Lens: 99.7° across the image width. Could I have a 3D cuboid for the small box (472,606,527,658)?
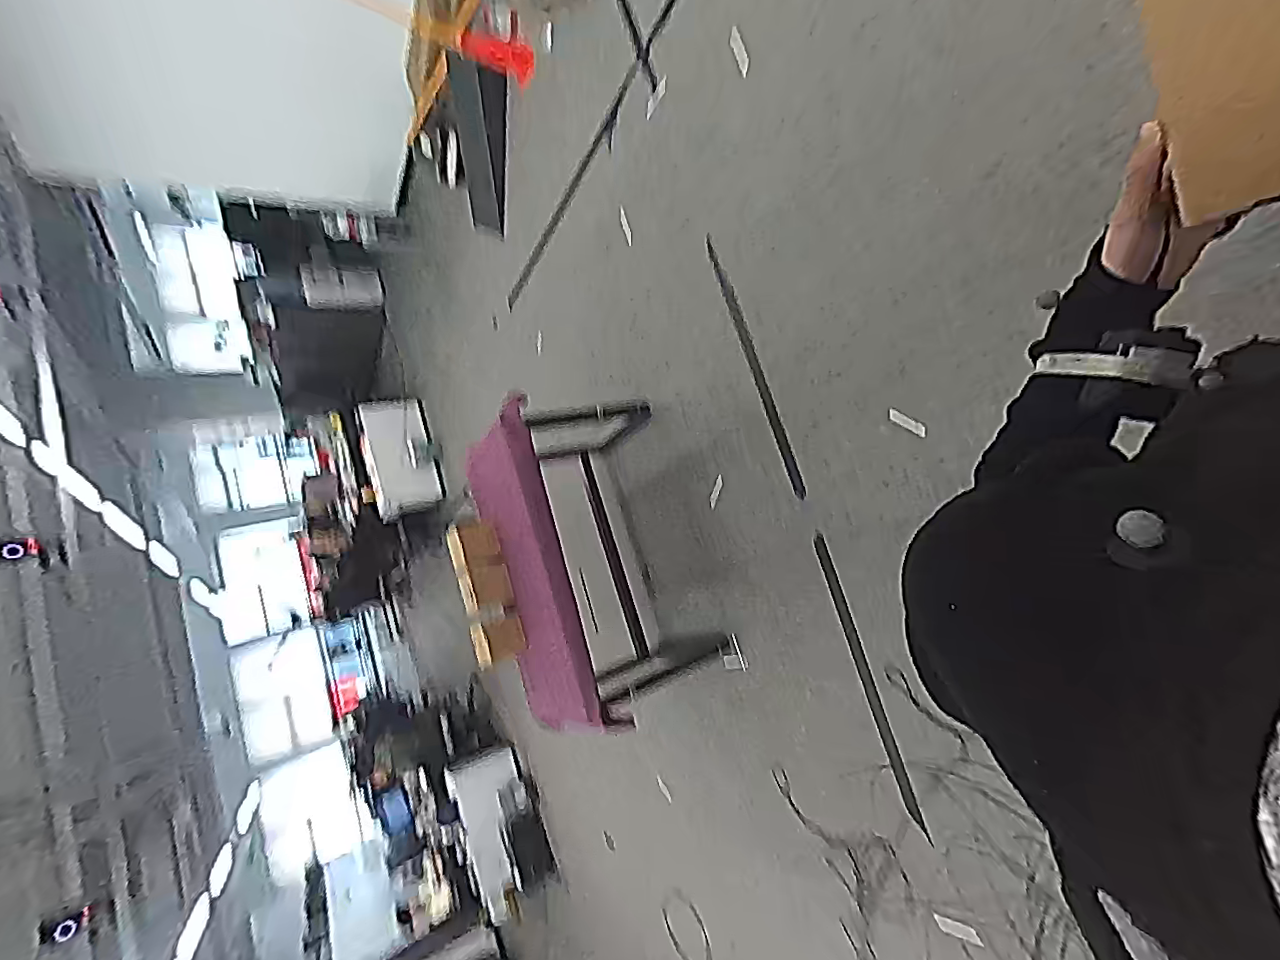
[{"bbox_3d":[-0.603,0.656,2.339,0.179,0.176,0.168,-31,74,52],"label":"small box"}]
